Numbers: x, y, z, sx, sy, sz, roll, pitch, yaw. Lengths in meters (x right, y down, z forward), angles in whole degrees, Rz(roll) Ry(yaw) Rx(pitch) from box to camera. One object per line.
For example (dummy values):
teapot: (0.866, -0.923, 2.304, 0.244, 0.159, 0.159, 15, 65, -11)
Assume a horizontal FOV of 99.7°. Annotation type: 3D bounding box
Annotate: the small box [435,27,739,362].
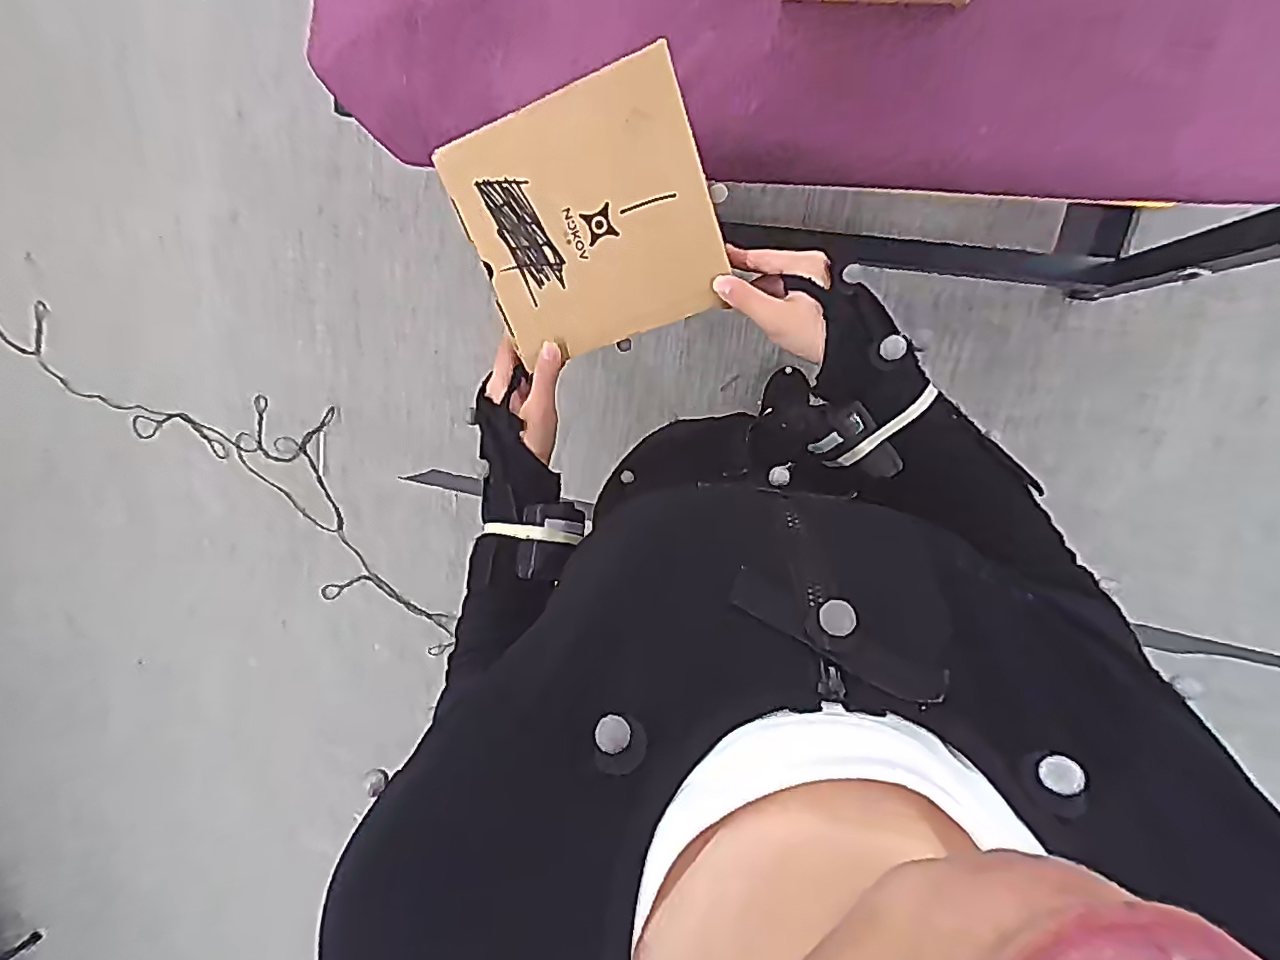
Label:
small box: (-0.027, -0.215, 0.449, 0.179, 0.176, 0.168, -17, 111, 12)
